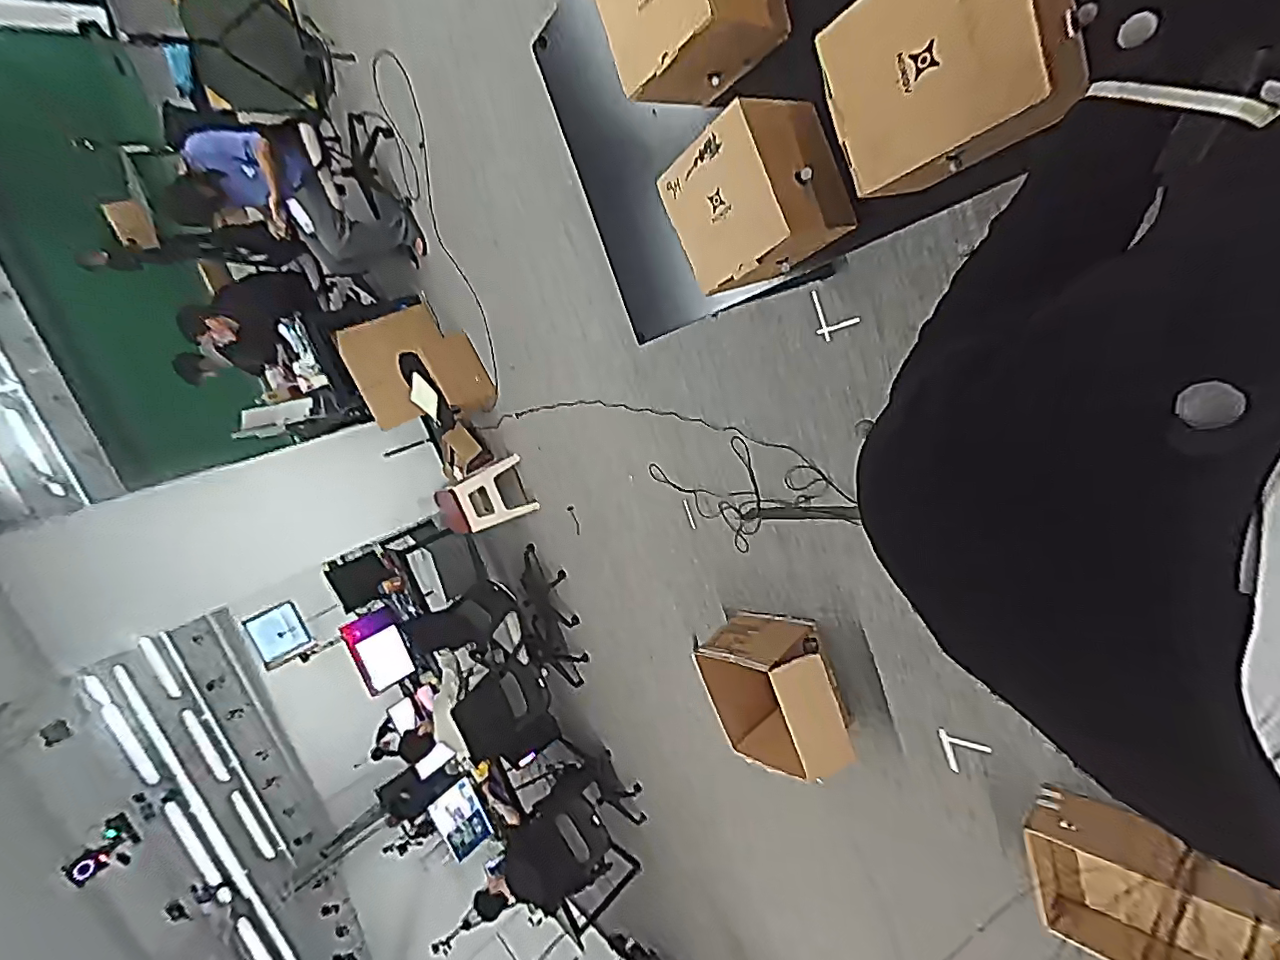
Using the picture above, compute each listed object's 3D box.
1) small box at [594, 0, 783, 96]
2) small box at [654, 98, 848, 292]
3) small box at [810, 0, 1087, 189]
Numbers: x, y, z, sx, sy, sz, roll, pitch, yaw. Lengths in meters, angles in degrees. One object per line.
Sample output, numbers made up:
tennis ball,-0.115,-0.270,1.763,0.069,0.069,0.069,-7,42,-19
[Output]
small box,0.059,-0.642,0.711,0.168,0.176,0.179,-5,109,52
small box,0.157,-0.392,0.750,0.168,0.176,0.179,-17,99,54
small box,0.309,-0.421,0.545,0.179,0.176,0.168,-9,106,52
